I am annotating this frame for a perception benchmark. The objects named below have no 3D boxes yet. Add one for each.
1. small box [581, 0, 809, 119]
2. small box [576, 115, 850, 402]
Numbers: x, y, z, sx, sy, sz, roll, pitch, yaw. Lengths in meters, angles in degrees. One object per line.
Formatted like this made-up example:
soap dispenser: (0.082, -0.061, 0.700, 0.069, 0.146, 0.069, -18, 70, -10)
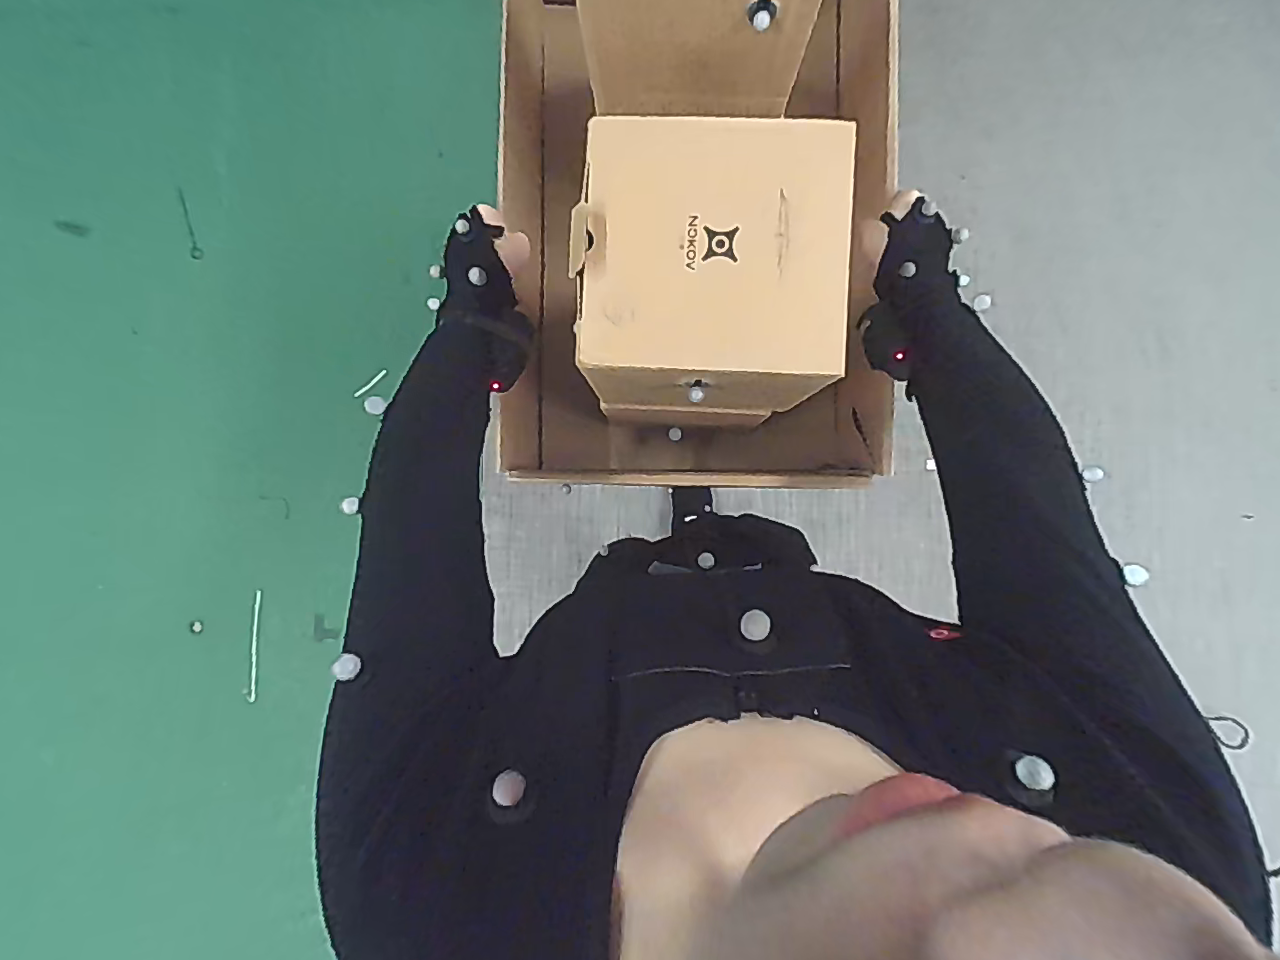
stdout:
small box: (0.044, -0.420, 0.436, 0.179, 0.176, 0.168, 3, 91, 1)
small box: (0.050, -0.158, 0.438, 0.179, 0.176, 0.168, 3, 91, 1)
